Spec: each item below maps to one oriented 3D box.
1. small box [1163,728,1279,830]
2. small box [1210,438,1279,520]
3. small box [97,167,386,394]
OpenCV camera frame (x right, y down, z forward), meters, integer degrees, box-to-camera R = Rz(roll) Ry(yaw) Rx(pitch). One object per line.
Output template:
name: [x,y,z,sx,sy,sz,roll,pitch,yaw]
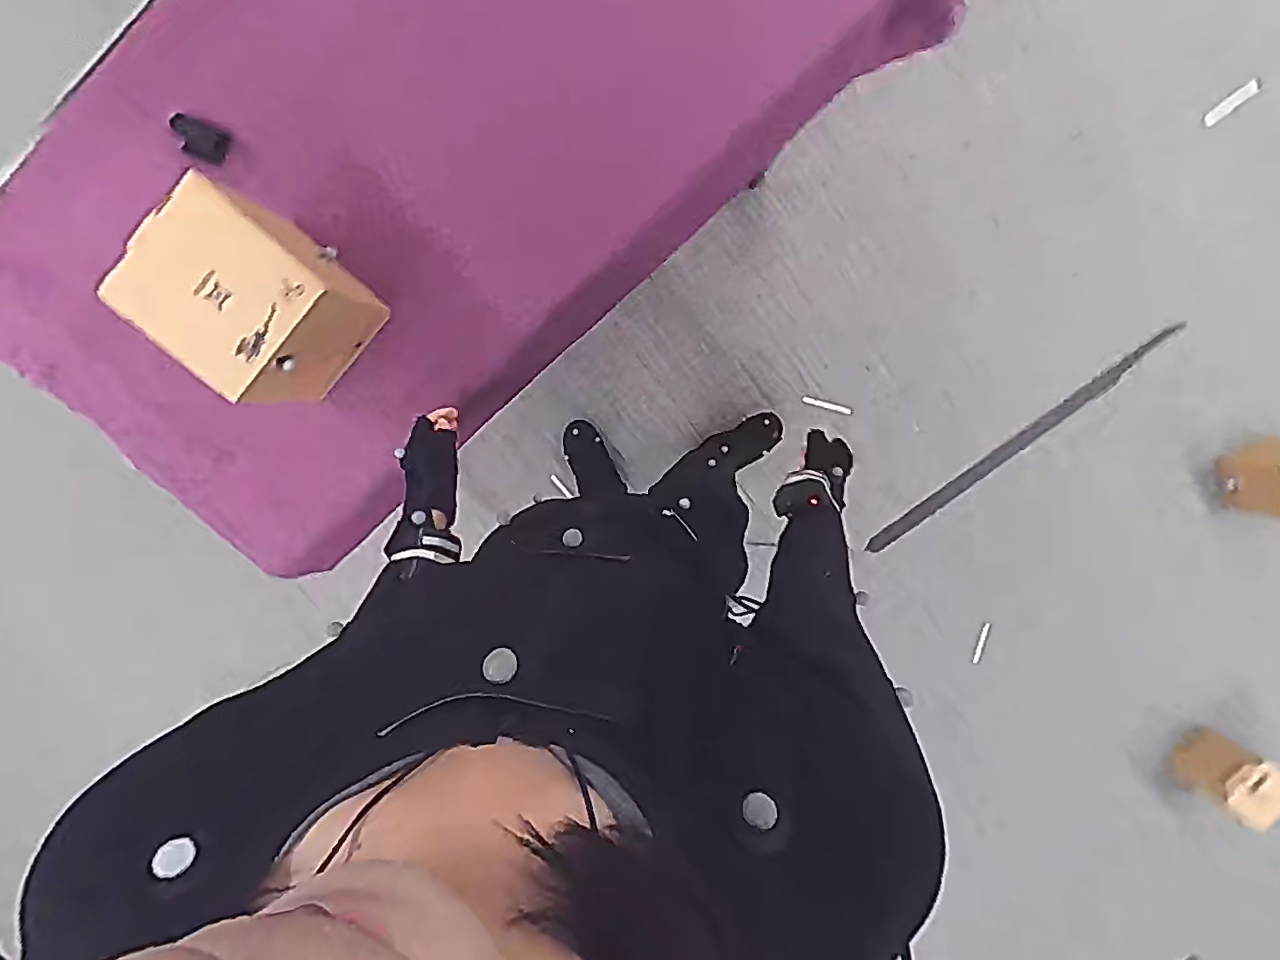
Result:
small box: [1.734,0.874,1.603,0.179,0.176,0.168,39,95,-7]
small box: [1.736,-0.008,1.473,0.179,0.176,0.168,-23,97,3]
small box: [-0.448,-0.214,0.642,0.179,0.176,0.168,42,95,-6]
